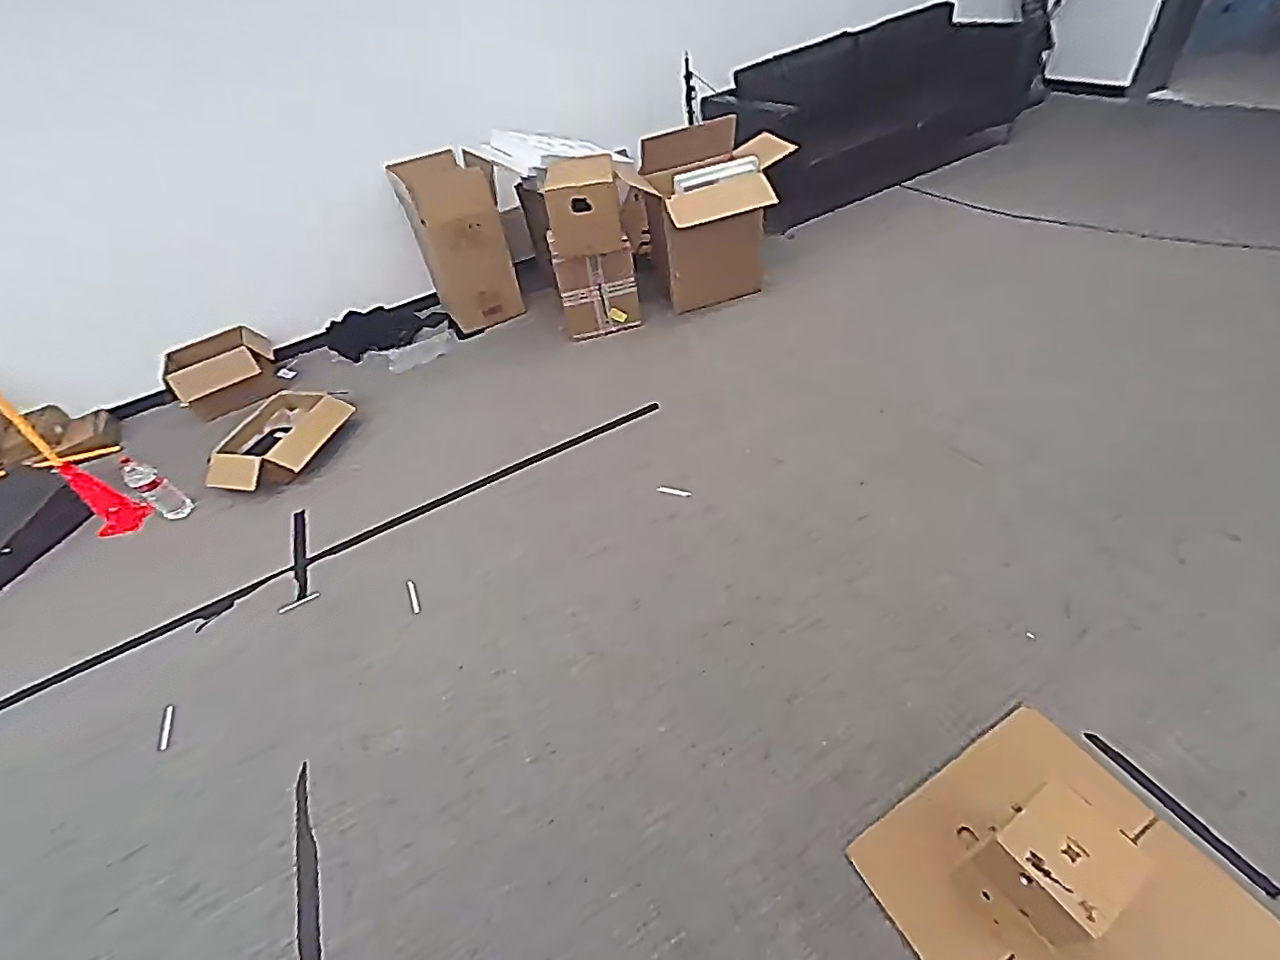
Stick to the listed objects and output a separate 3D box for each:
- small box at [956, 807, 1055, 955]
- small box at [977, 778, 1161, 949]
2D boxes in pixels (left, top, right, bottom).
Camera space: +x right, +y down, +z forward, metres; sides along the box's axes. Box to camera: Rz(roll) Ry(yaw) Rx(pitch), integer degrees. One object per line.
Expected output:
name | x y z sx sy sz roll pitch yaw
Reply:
small box | 0.756 0.786 1.061 0.179 0.176 0.168 -29 47 -15
small box | 0.732 0.670 0.947 0.179 0.176 0.168 -29 47 -17
